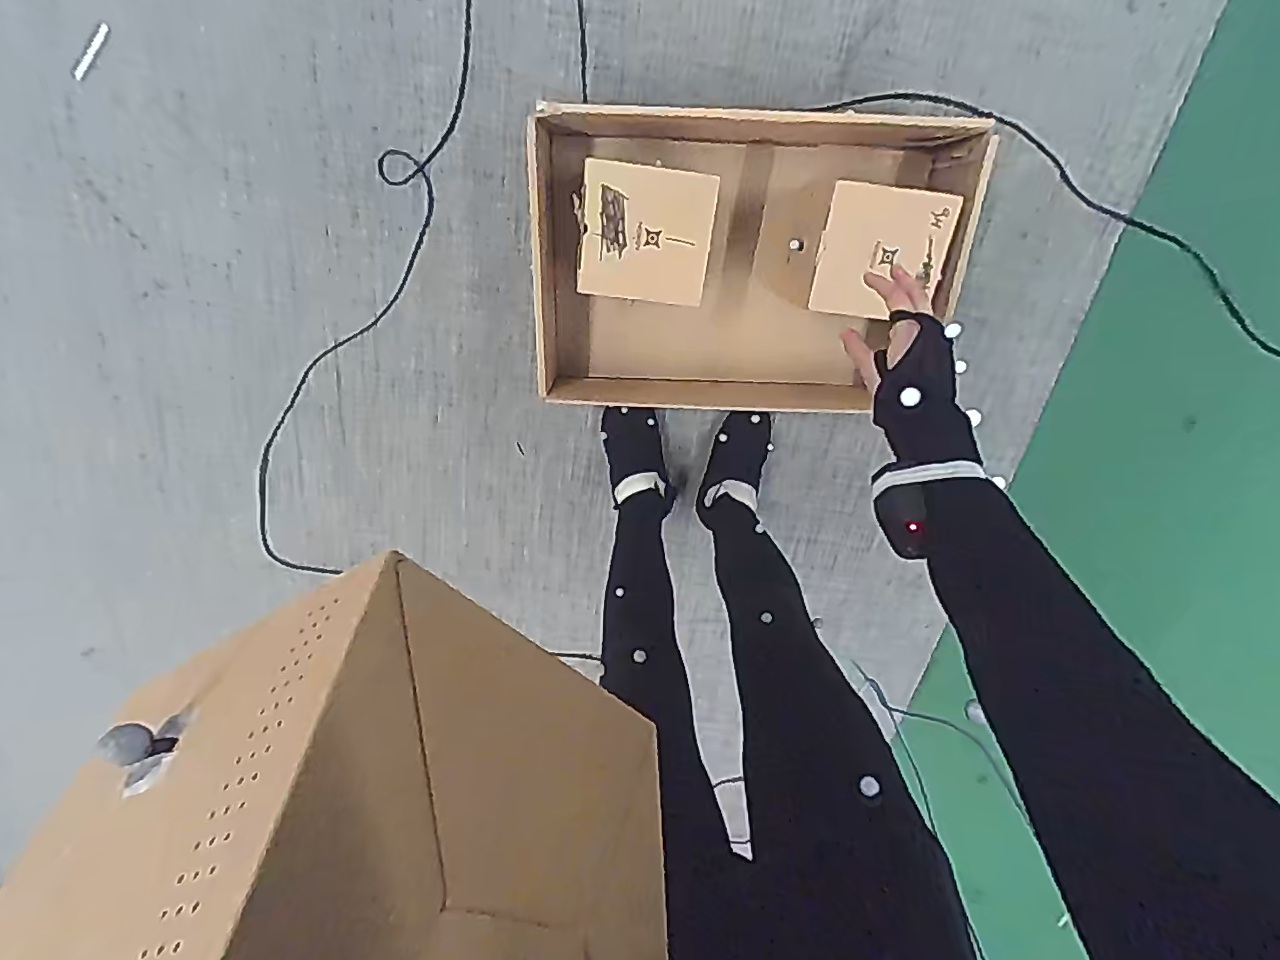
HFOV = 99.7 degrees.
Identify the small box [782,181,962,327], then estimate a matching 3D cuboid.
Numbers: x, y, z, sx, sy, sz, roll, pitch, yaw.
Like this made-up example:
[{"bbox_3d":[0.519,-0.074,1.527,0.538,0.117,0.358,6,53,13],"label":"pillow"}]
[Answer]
[{"bbox_3d":[0.327,-0.334,0.808,0.179,0.176,0.168,7,114,-3],"label":"small box"}]
